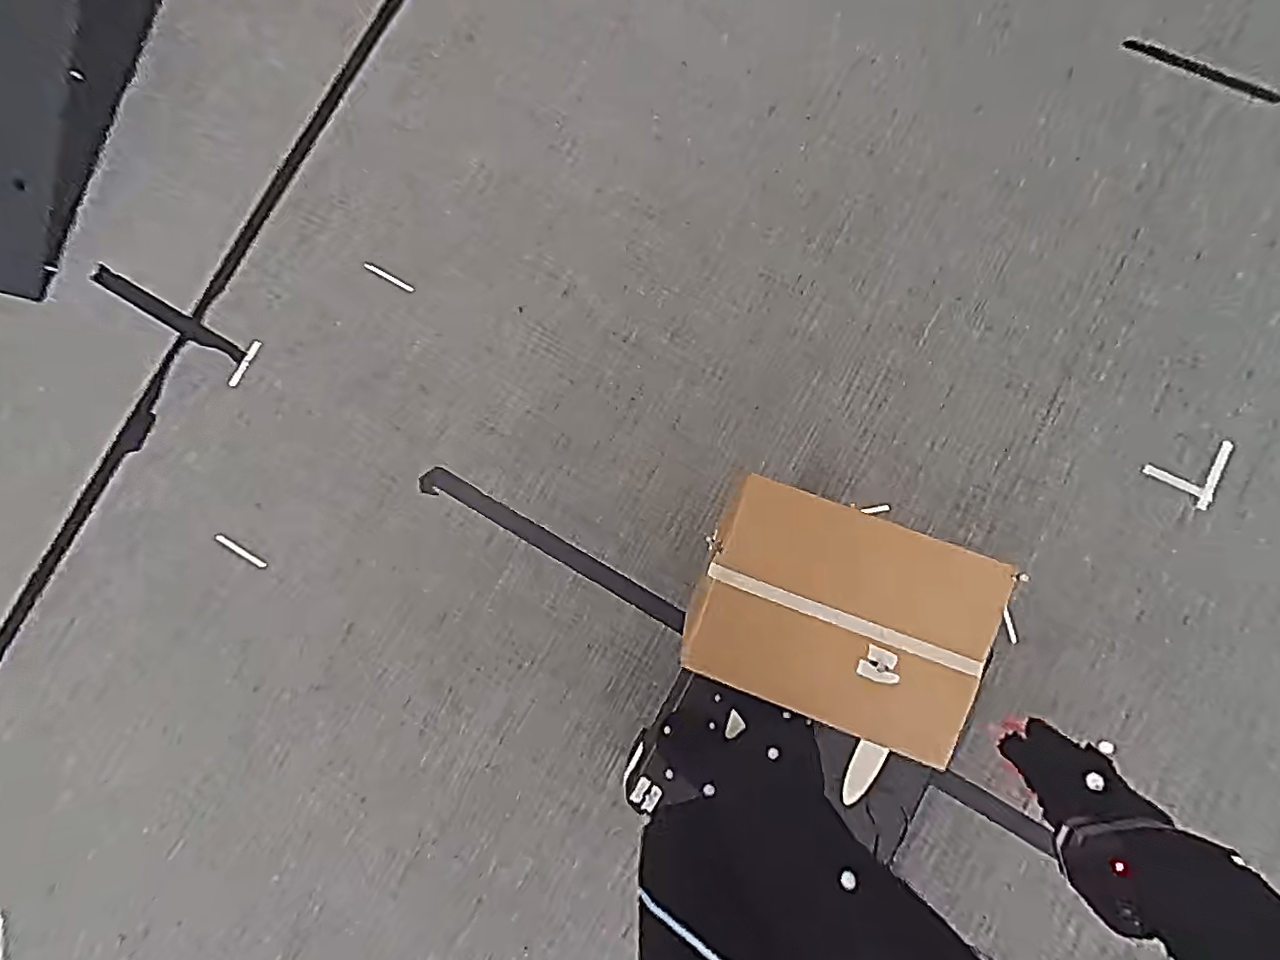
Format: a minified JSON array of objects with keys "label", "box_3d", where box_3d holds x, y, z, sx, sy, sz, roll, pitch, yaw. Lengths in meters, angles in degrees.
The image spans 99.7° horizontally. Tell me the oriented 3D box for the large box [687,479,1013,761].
[{"label":"large box","box_3d":[0.316,0.205,0.945,0.408,0.320,0.320,19,92,6]}]
